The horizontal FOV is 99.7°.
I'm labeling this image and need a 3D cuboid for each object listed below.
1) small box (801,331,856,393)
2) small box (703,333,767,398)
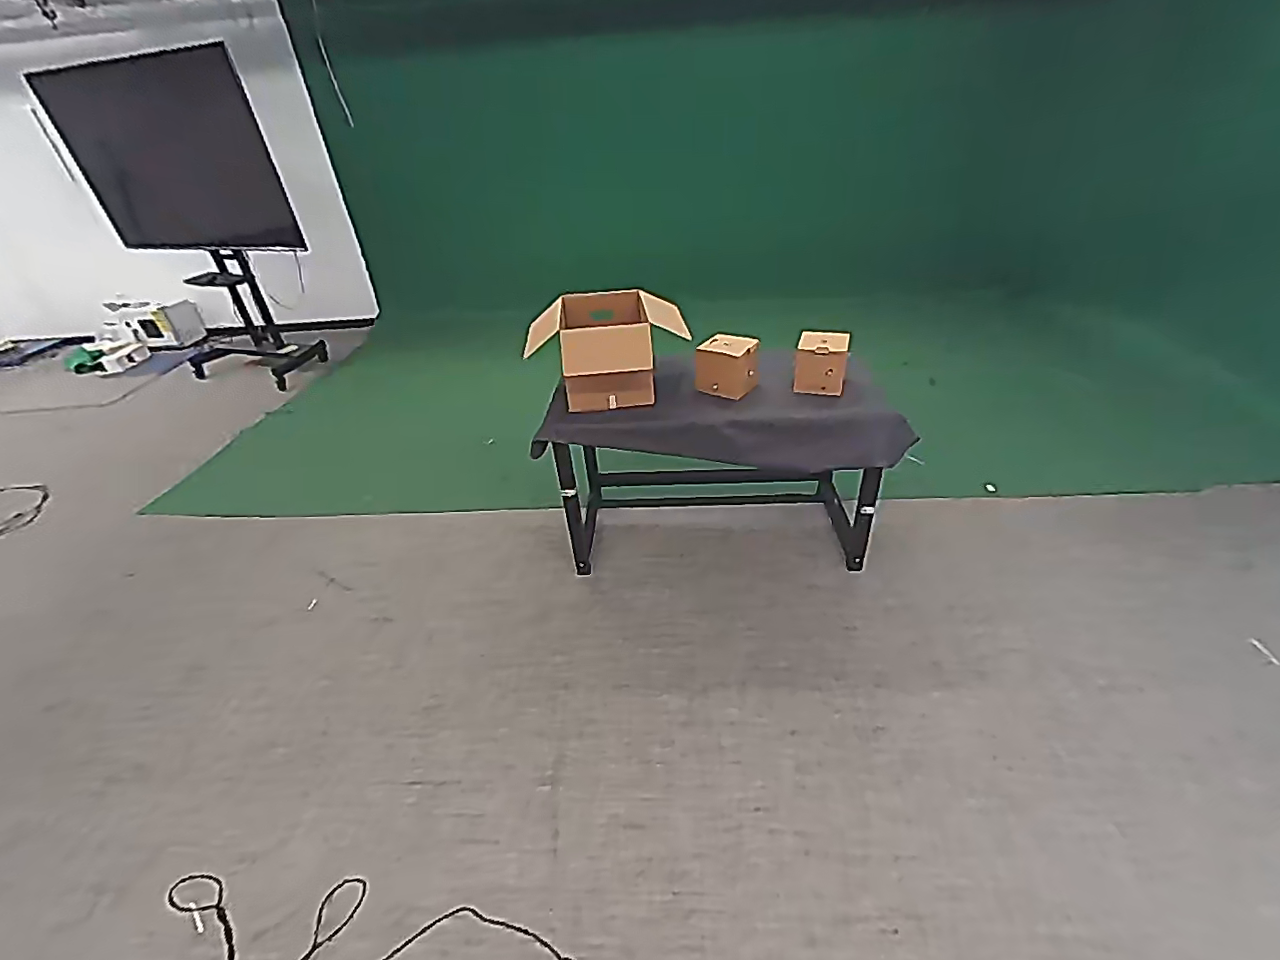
[{"bbox_3d":[0.679,-0.426,1.949,0.168,0.176,0.179,9,36,18],"label":"small box"},{"bbox_3d":[0.350,-0.420,1.988,0.179,0.176,0.168,21,43,32],"label":"small box"}]
